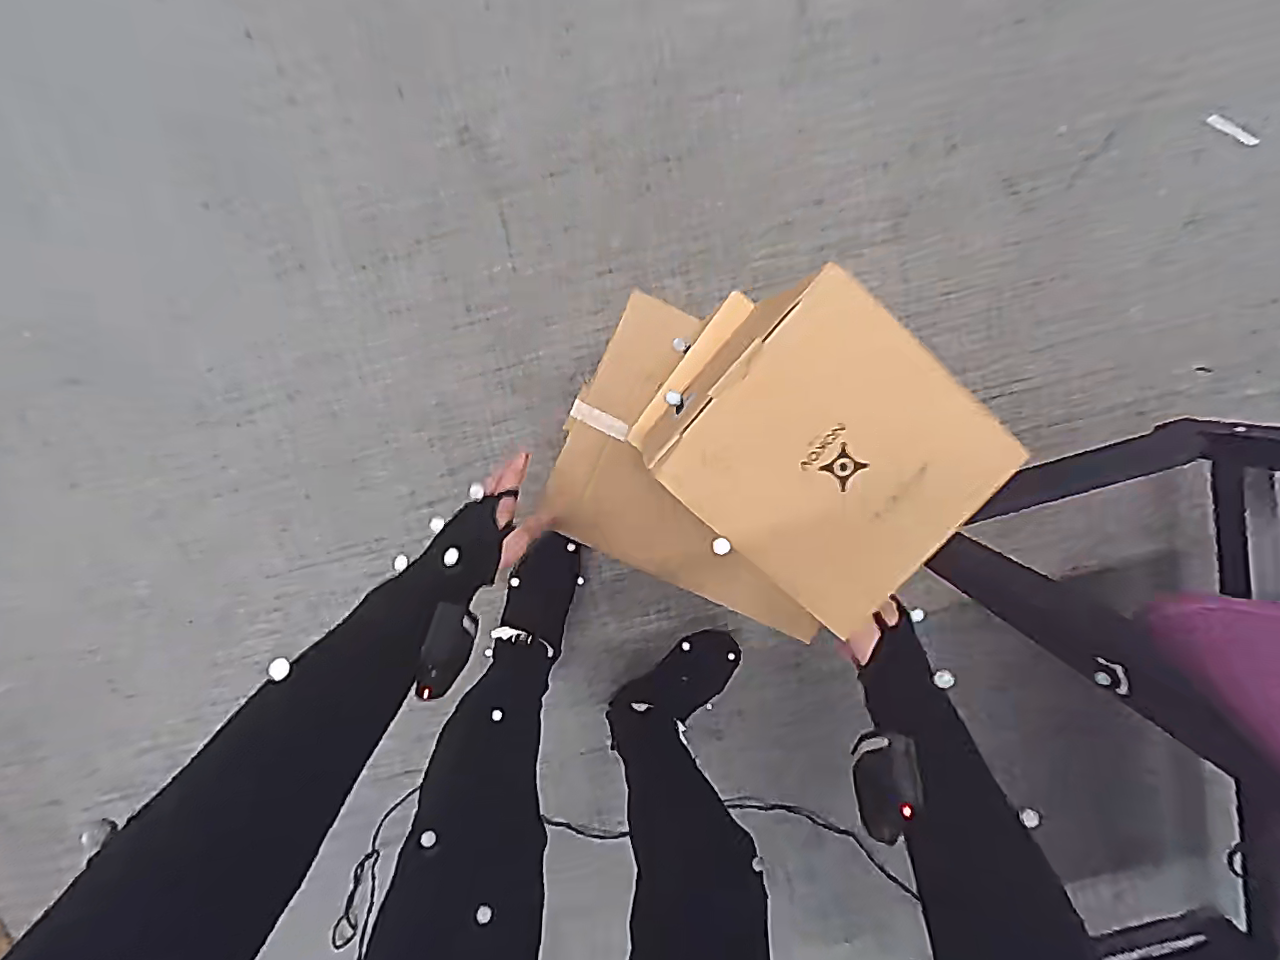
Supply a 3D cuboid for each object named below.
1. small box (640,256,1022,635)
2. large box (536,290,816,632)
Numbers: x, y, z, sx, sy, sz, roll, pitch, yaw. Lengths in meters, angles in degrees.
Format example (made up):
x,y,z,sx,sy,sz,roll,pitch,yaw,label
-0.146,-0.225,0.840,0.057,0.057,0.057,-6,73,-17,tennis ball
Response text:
x,y,z,sx,sy,sz,roll,pitch,yaw,label
0.114,-0.027,0.404,0.179,0.176,0.168,41,98,-8,small box
0.104,-0.039,0.816,0.408,0.320,0.320,24,101,-6,large box
